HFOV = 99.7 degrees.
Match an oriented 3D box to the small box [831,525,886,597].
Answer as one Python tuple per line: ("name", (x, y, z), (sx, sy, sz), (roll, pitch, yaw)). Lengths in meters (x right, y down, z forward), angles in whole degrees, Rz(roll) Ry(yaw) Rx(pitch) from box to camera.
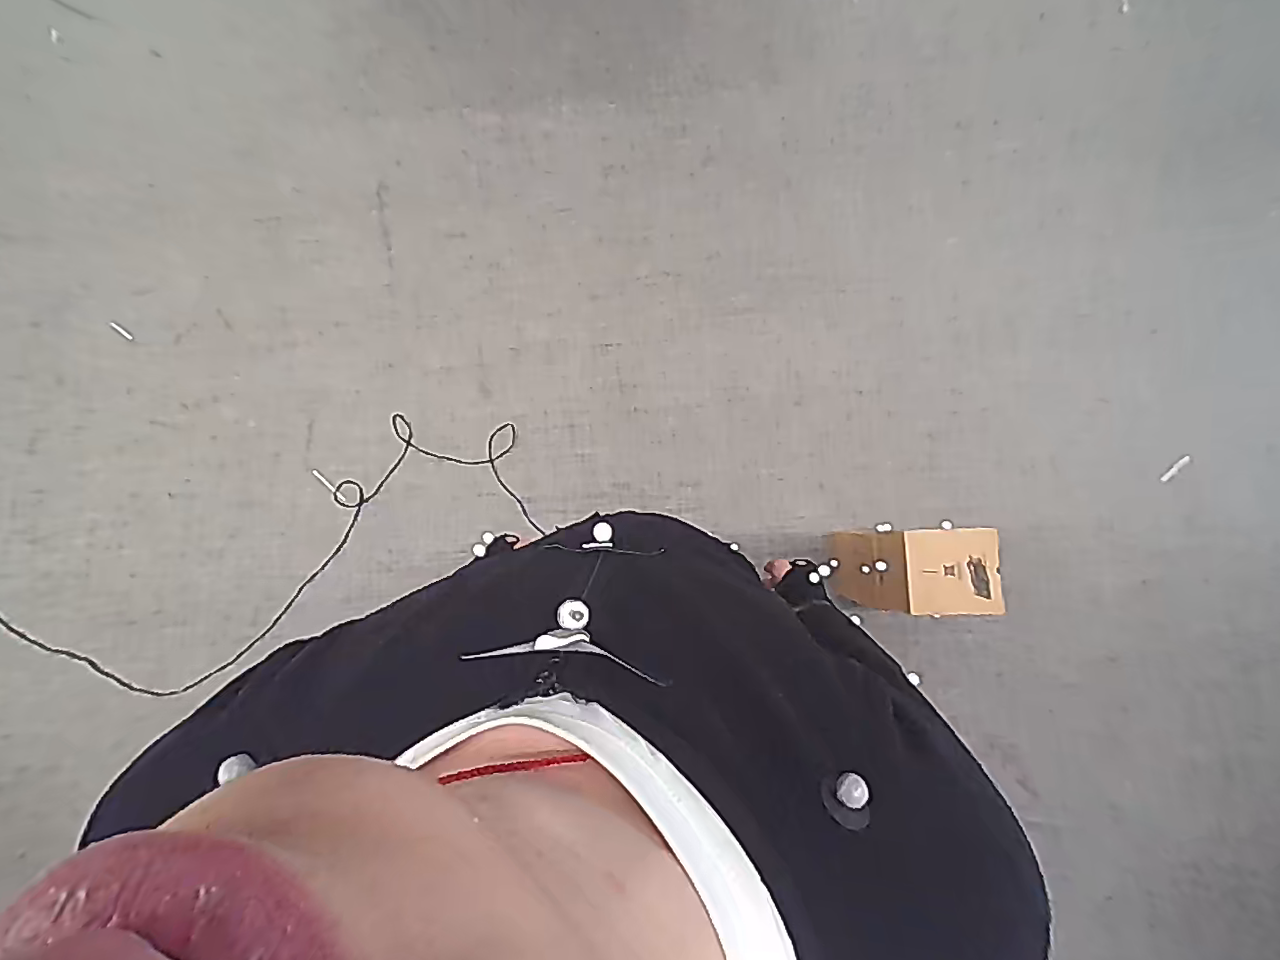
("small box", (0.619, 0.212, 1.449), (0.168, 0.176, 0.179), (-2, 86, 3))

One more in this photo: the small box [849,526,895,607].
("small box", (0.609, 0.199, 1.289), (0.168, 0.176, 0.179), (-3, 88, 4))

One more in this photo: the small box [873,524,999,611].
("small box", (0.605, 0.176, 1.124), (0.179, 0.176, 0.168), (-2, 85, 5))
